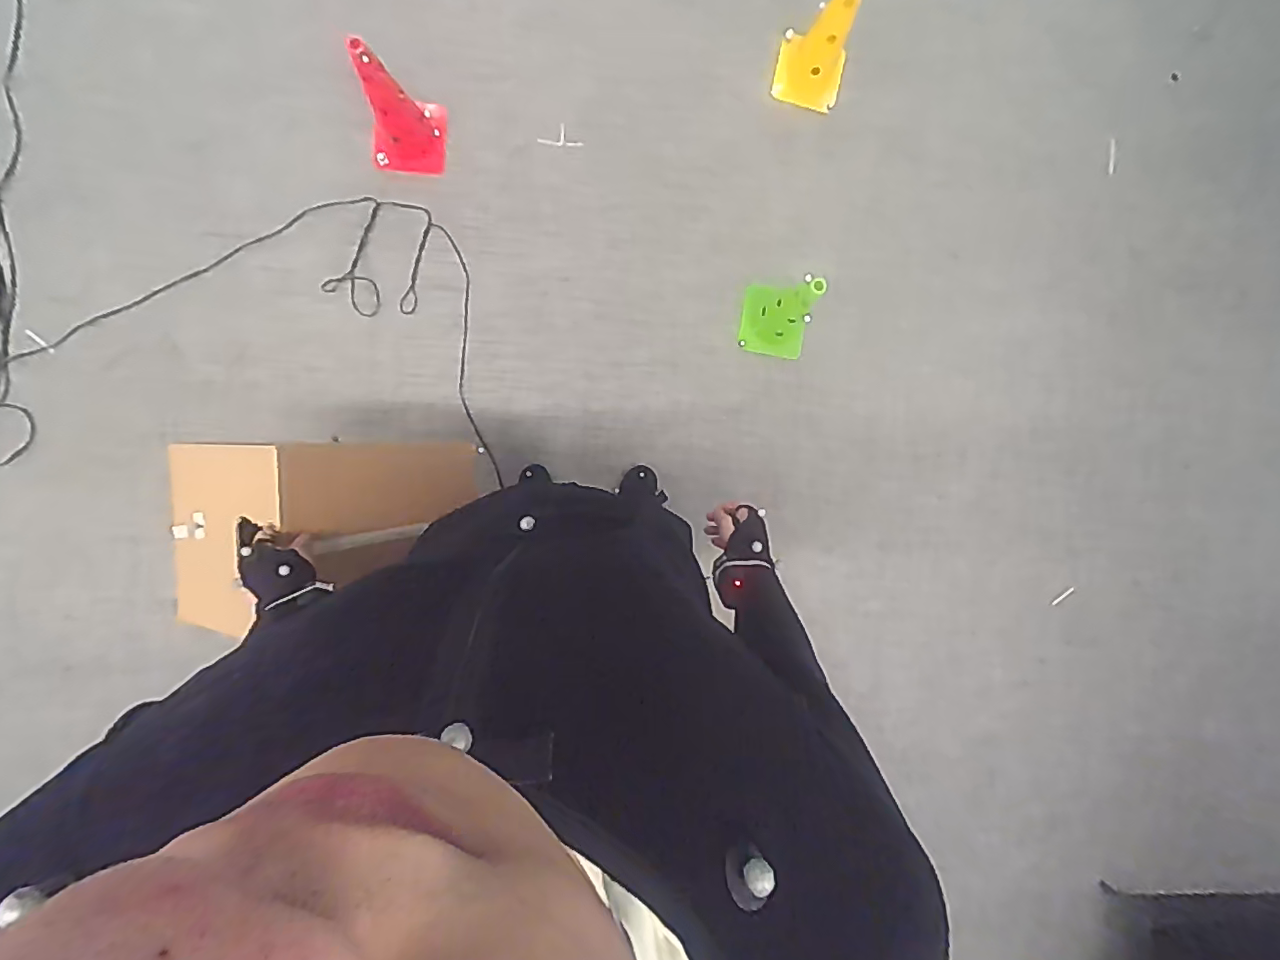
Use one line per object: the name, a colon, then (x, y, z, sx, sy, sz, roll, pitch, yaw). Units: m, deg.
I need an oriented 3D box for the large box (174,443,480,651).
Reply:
large box: (-0.568, 0.088, 1.035, 0.320, 0.408, 0.320, 3, 95, 26)

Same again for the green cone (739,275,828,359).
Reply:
green cone: (0.426, -0.476, 1.487, 0.200, 0.368, 0.202, 9, 90, -5)
